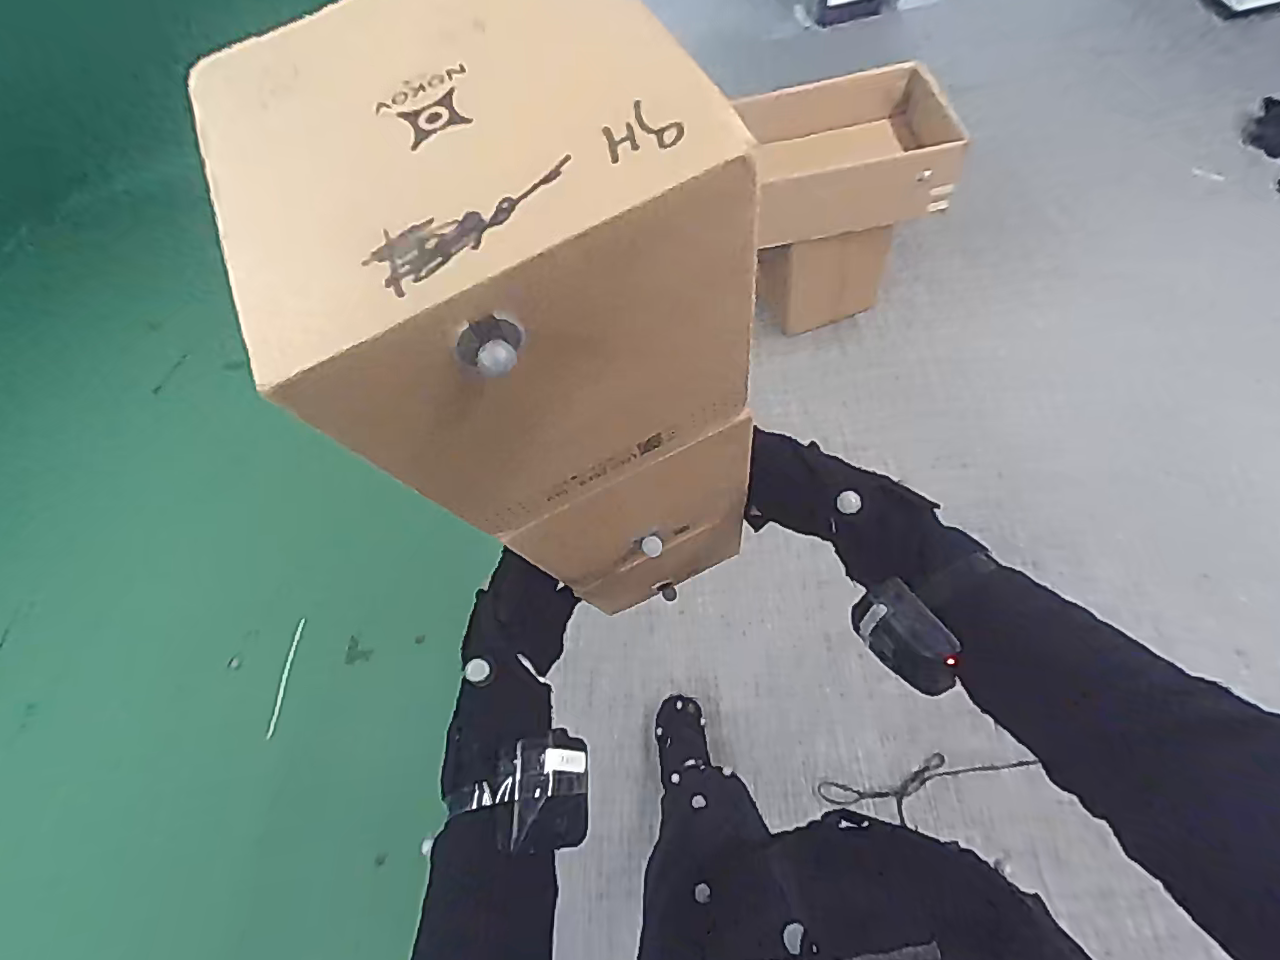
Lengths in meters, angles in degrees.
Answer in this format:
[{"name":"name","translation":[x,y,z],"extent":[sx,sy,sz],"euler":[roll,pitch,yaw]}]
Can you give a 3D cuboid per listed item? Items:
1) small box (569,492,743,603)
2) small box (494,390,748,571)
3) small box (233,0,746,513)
[{"name":"small box","translation":[-0.005,0.012,0.579],"extent":[0.168,0.176,0.179],"euler":[-27,68,-1]},{"name":"small box","translation":[-0.030,-0.050,0.428],"extent":[0.168,0.176,0.179],"euler":[-26,68,0]},{"name":"small box","translation":[-0.060,-0.110,0.279],"extent":[0.168,0.176,0.179],"euler":[-26,66,0]}]
